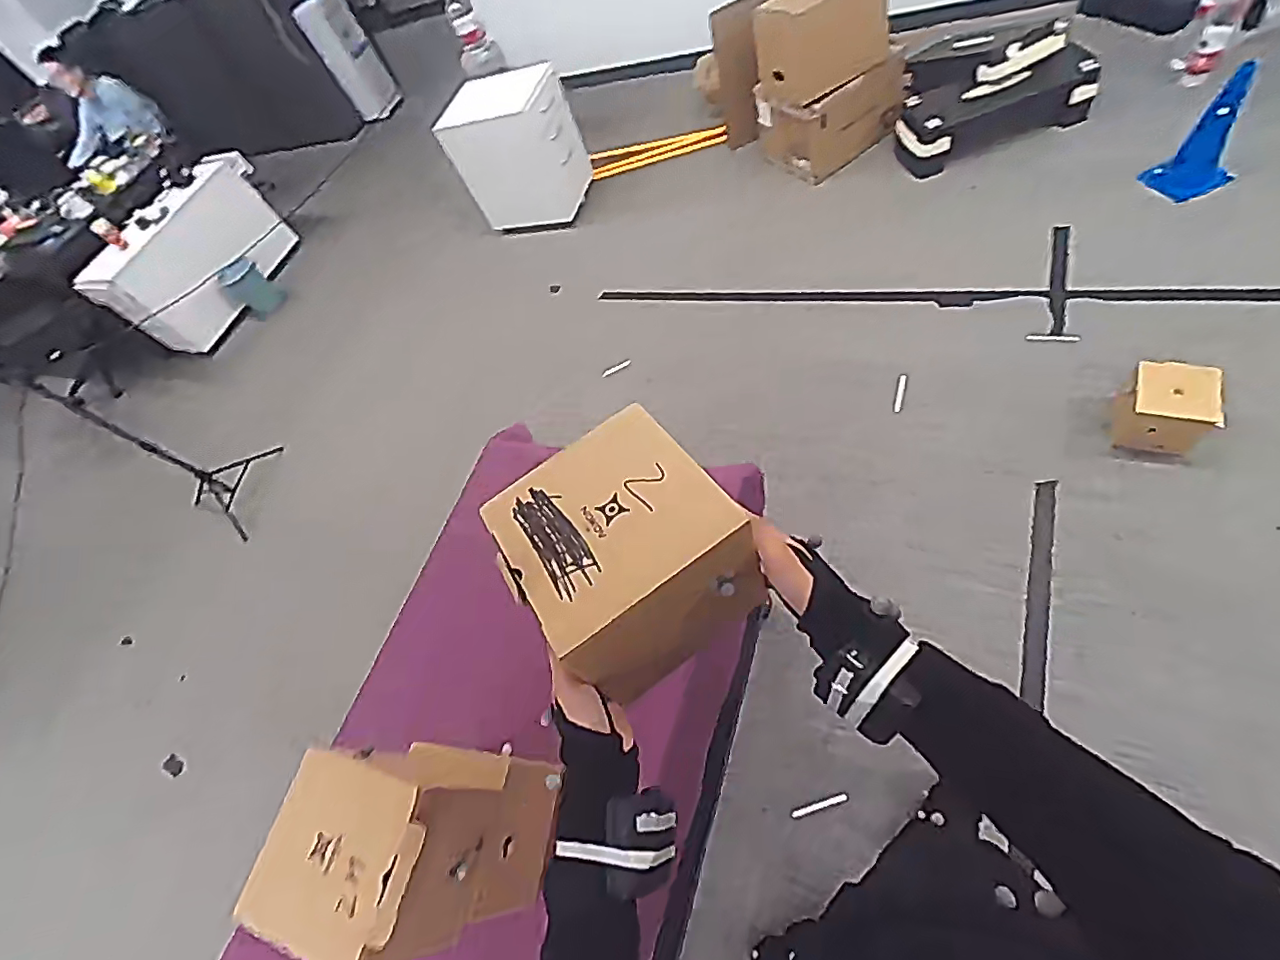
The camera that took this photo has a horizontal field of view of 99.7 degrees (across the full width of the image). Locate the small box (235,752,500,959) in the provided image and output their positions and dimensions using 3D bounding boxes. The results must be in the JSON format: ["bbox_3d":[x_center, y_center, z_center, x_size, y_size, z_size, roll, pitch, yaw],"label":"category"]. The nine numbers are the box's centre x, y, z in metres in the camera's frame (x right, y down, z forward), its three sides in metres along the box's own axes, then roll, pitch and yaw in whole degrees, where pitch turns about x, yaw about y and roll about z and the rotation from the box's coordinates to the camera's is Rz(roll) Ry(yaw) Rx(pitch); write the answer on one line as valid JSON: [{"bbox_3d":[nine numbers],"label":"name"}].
[{"bbox_3d":[-0.297,0.431,0.624,0.179,0.176,0.168,4,63,22],"label":"small box"}]

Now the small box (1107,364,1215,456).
[{"bbox_3d":[1.402,-0.186,1.463,0.168,0.176,0.179,13,65,26],"label":"small box"}]

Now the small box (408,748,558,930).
[{"bbox_3d":[-0.235,0.493,0.765,0.168,0.176,0.179,-1,59,19],"label":"small box"}]
